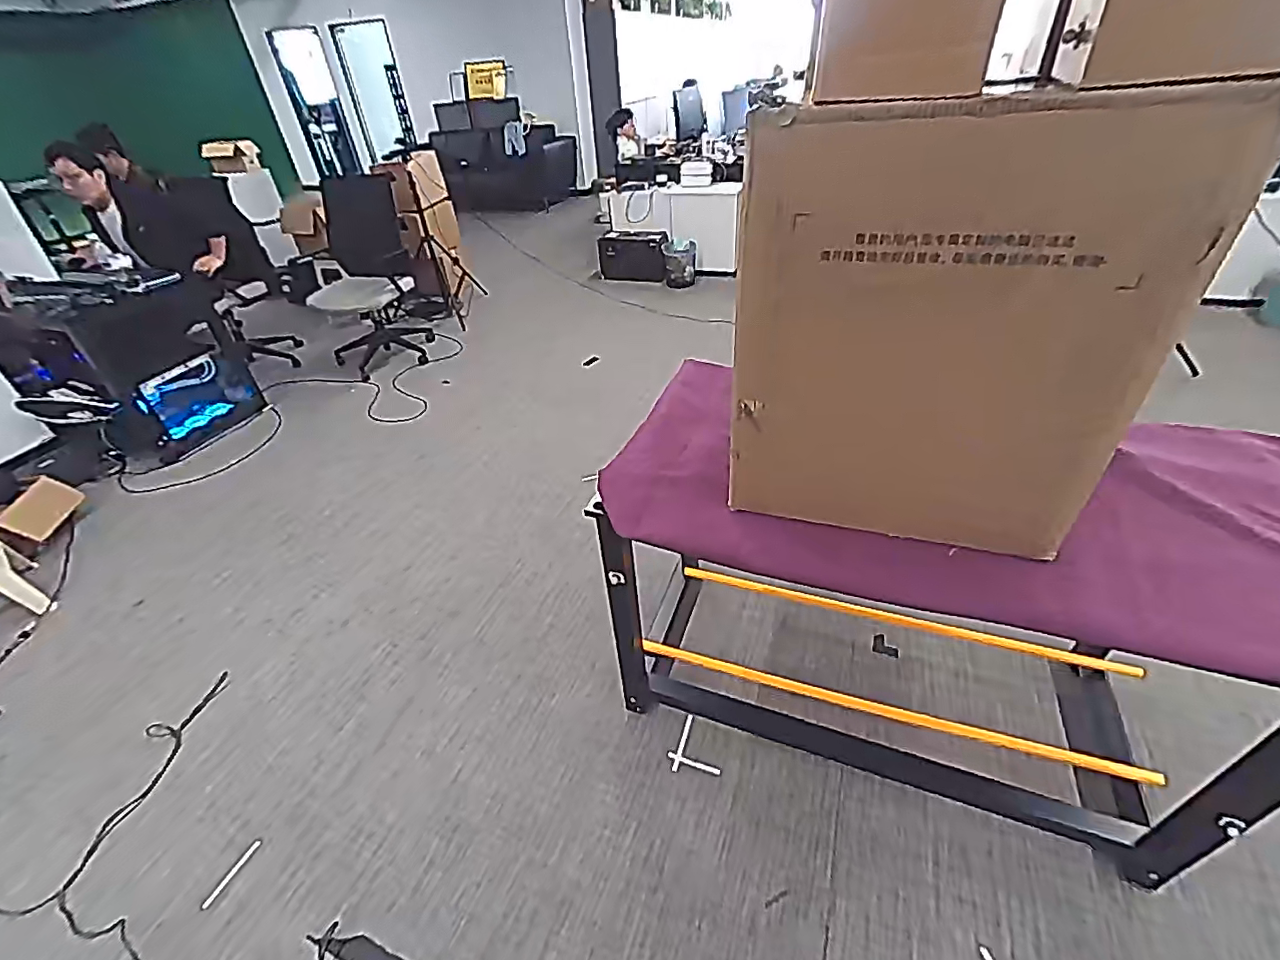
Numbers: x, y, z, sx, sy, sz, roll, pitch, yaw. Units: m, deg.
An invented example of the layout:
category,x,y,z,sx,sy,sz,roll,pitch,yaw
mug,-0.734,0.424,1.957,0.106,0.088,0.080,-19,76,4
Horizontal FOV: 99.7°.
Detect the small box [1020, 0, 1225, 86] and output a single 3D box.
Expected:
category,x,y,z,sx,sy,sz,roll,pitch,yaw
small box,0.607,-0.607,0.681,0.168,0.176,0.179,10,40,20
